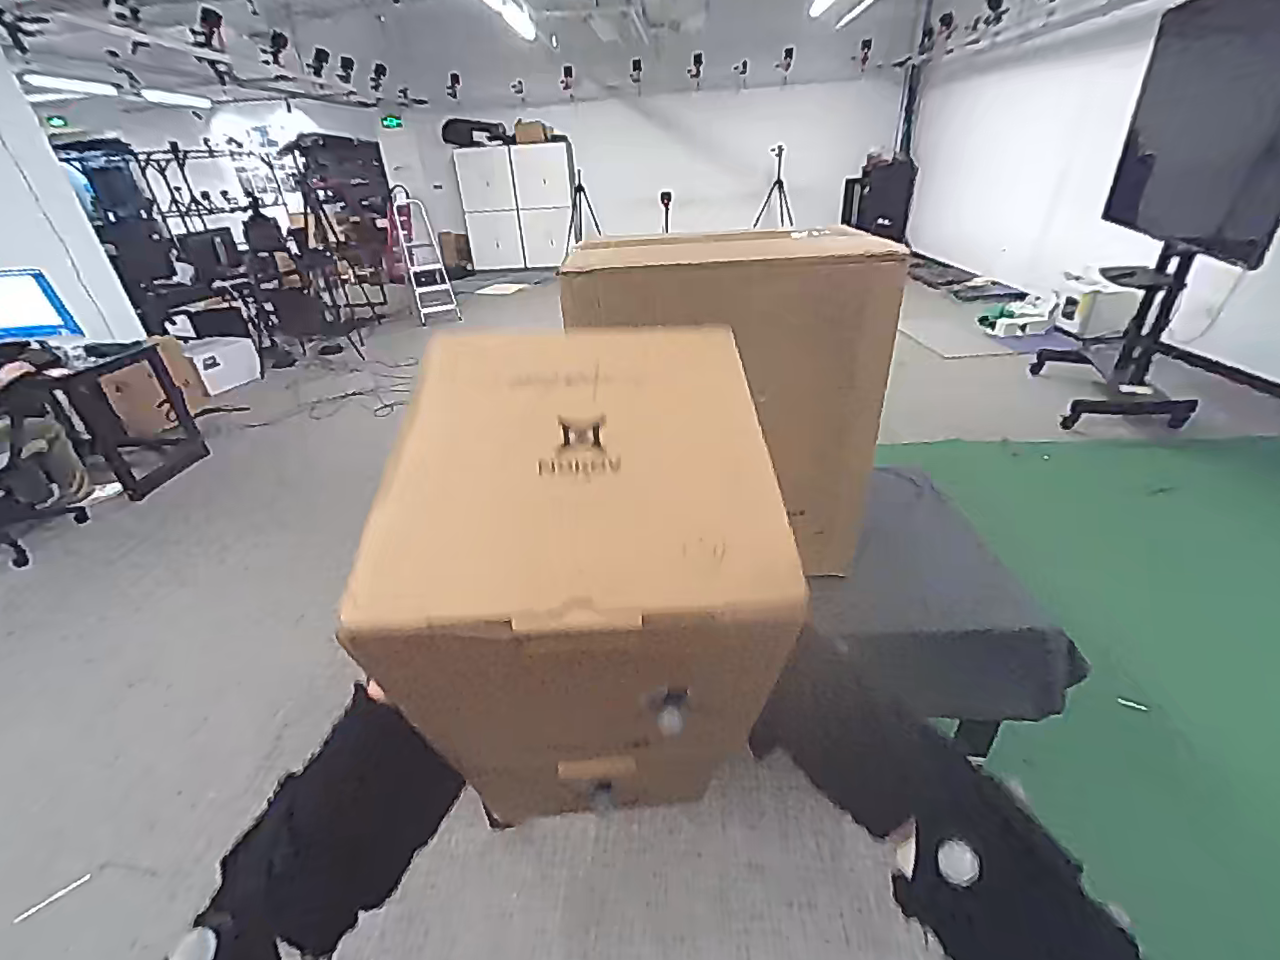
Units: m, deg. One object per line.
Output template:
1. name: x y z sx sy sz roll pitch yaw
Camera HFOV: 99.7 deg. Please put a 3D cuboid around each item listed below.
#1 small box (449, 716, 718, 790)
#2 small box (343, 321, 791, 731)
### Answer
1. small box: -0.041 0.134 0.433 0.168 0.176 0.179 -3 49 -6
2. small box: -0.031 0.030 0.307 0.168 0.176 0.179 -1 47 -5
